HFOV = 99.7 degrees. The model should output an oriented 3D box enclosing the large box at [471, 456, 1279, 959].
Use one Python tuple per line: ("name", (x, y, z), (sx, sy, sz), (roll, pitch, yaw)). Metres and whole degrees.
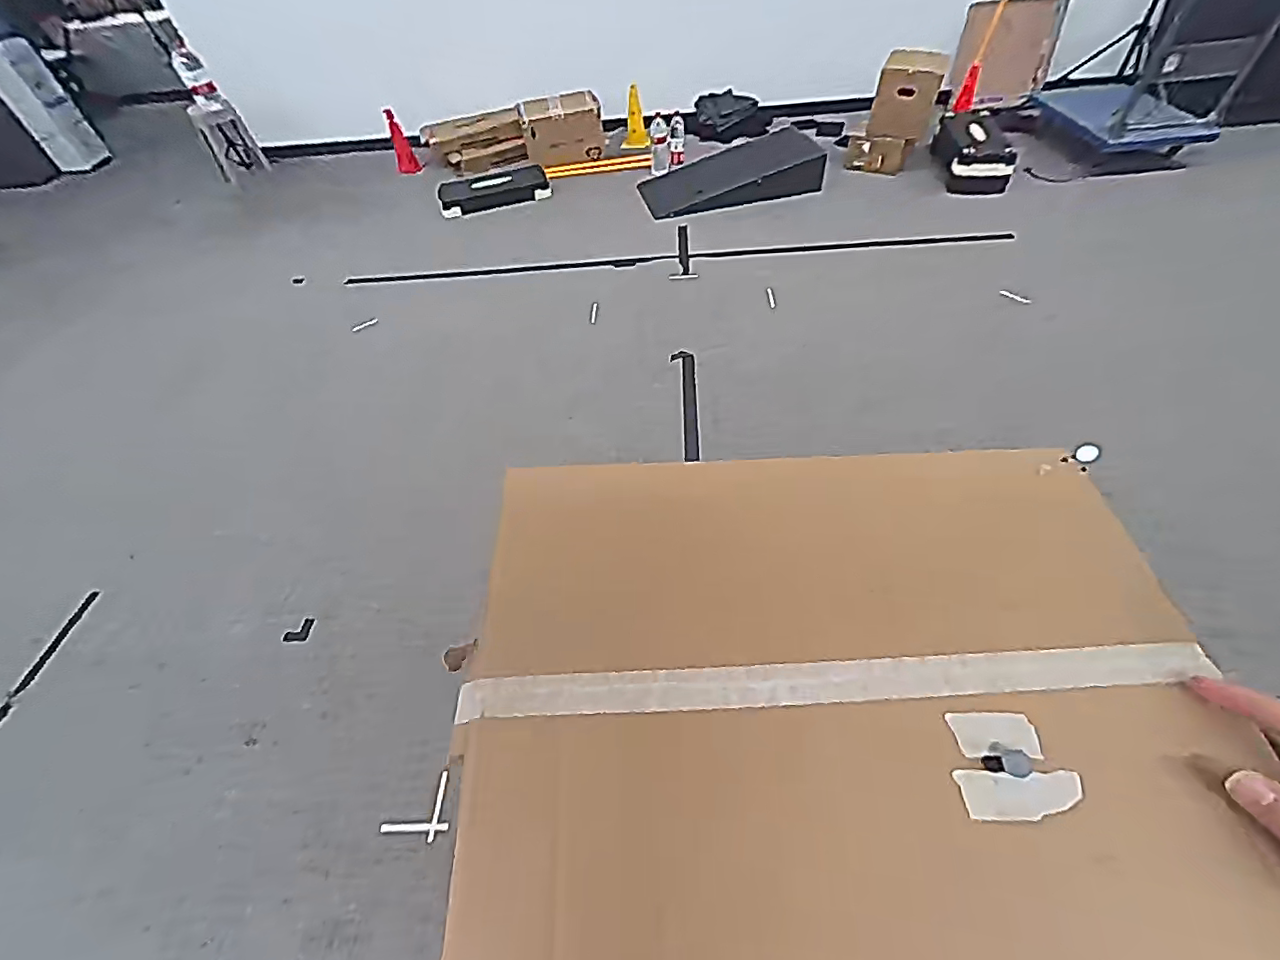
("large box", (0.115, 0.200, 0.428), (0.408, 0.320, 0.320), (-2, 54, -2))
